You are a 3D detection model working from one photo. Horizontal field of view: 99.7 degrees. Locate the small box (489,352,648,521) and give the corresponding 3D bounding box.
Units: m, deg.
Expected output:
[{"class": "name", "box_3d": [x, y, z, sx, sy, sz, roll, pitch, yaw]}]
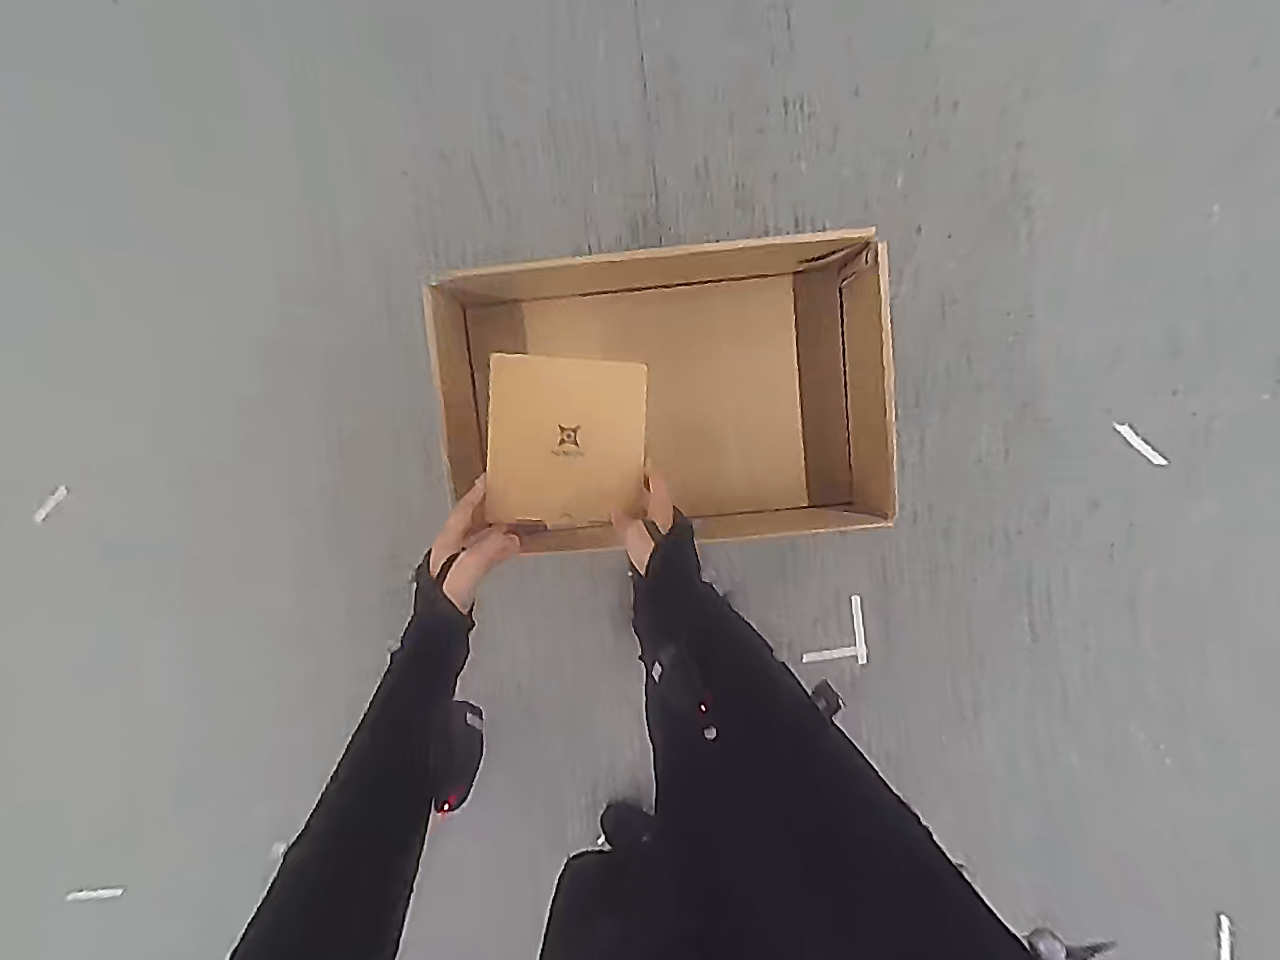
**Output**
[{"class": "small box", "box_3d": [-0.087, -0.043, 0.646, 0.168, 0.176, 0.179, 1, 90, -10]}]
